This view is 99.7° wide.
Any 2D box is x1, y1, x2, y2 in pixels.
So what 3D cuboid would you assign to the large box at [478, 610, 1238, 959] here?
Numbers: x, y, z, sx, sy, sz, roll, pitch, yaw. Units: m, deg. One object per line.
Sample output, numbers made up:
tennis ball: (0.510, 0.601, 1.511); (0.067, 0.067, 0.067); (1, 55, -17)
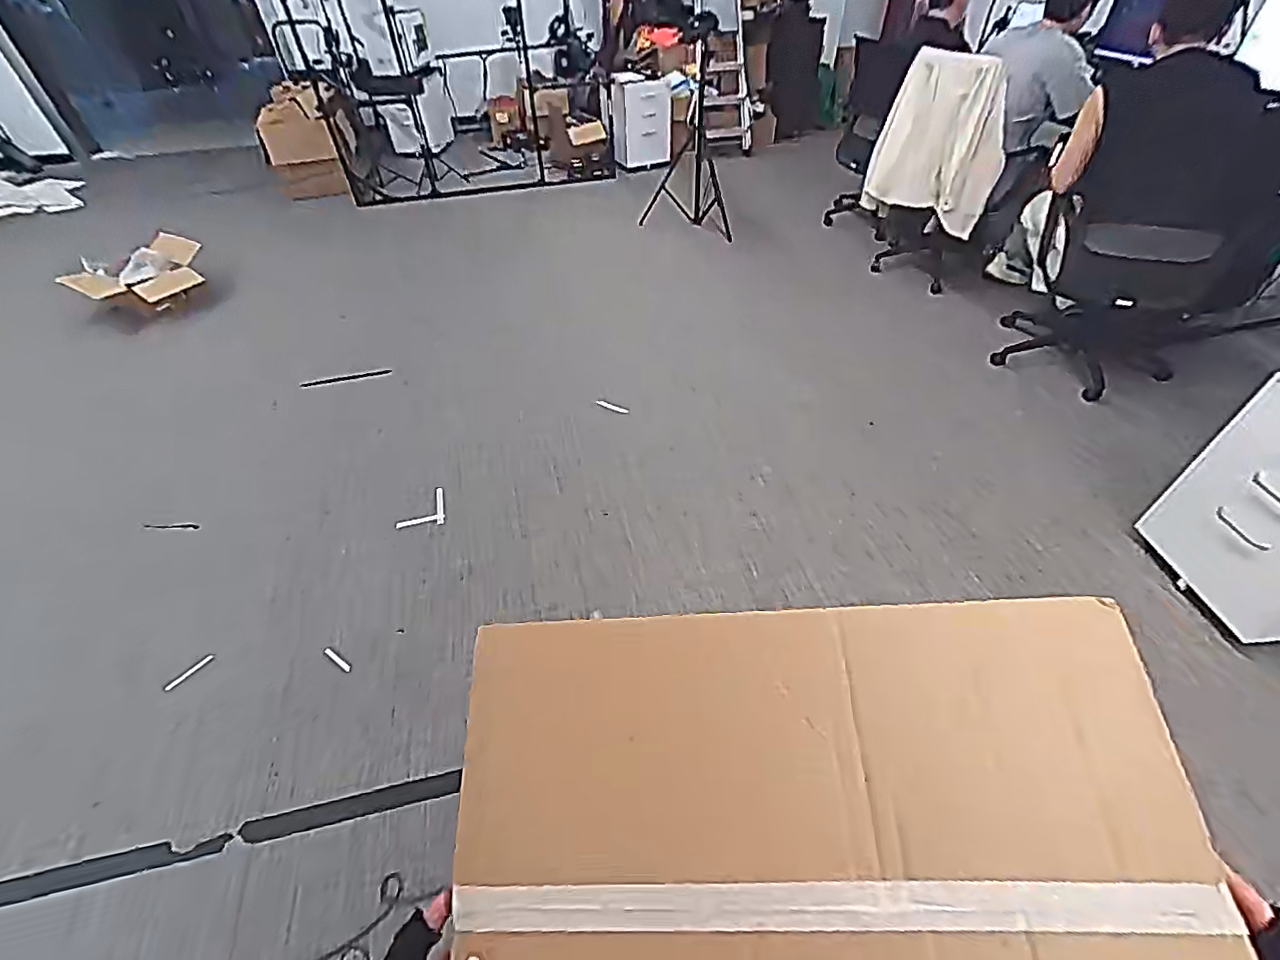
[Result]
large box: (0.119, 0.300, 0.434); (0.408, 0.320, 0.320); (-4, 66, 6)
